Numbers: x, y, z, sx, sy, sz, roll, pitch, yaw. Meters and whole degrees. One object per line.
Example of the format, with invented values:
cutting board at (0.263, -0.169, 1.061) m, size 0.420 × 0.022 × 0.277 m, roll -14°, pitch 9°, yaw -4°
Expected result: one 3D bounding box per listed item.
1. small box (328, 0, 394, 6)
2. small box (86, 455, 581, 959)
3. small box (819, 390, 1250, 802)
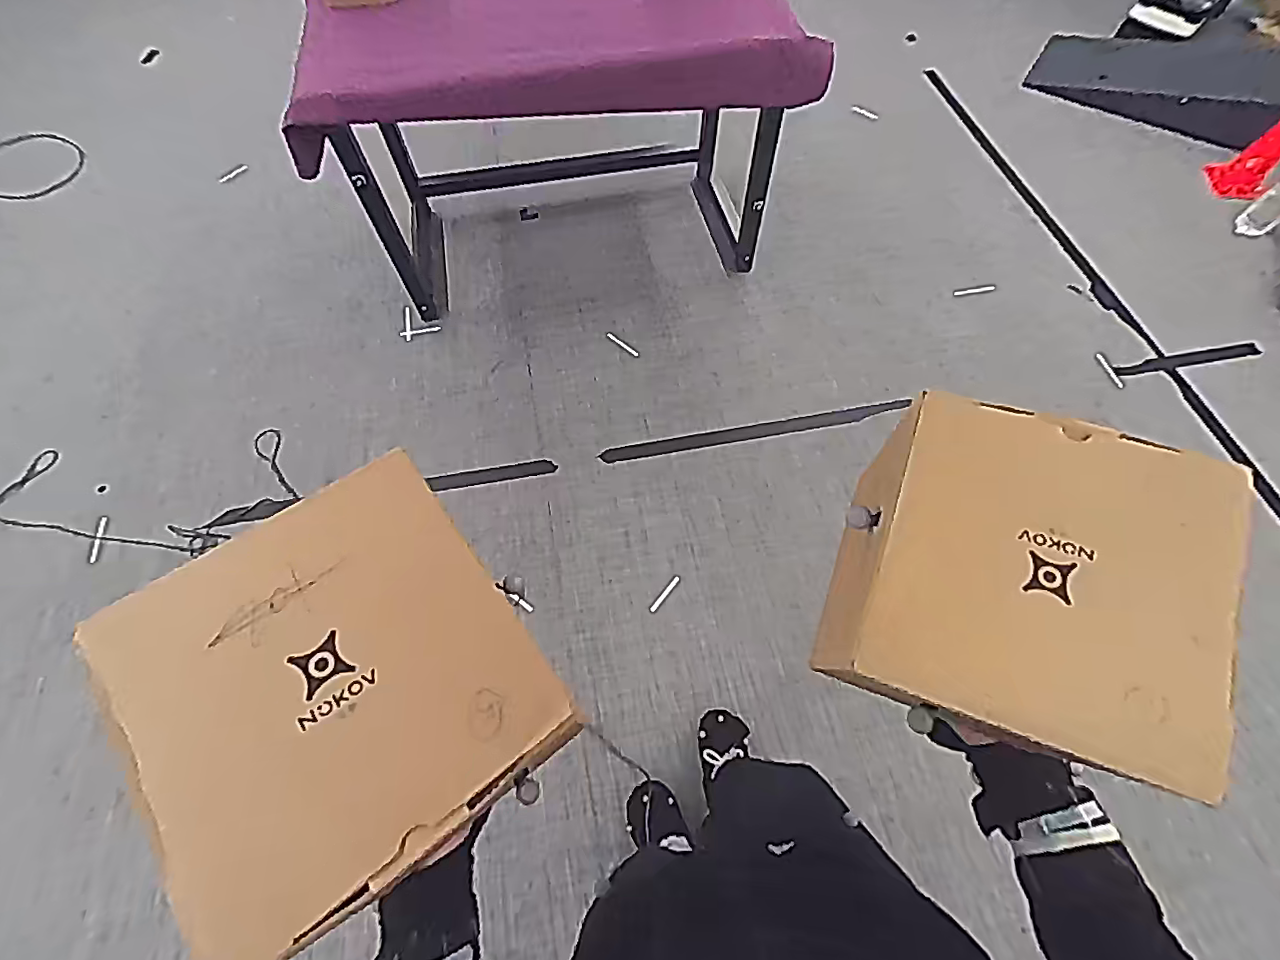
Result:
small box at (-0.726, -1.331, 1.358) m, size 0.179 × 0.176 × 0.168 m, roll -7°, pitch 66°, yaw -4°
small box at (-0.146, 0.124, 0.322) m, size 0.168 × 0.176 × 0.179 m, roll -35°, pitch 71°, yaw -20°
small box at (0.229, 0.072, 0.361) m, size 0.168 × 0.176 × 0.179 m, roll 18°, pitch 74°, yaw 14°
